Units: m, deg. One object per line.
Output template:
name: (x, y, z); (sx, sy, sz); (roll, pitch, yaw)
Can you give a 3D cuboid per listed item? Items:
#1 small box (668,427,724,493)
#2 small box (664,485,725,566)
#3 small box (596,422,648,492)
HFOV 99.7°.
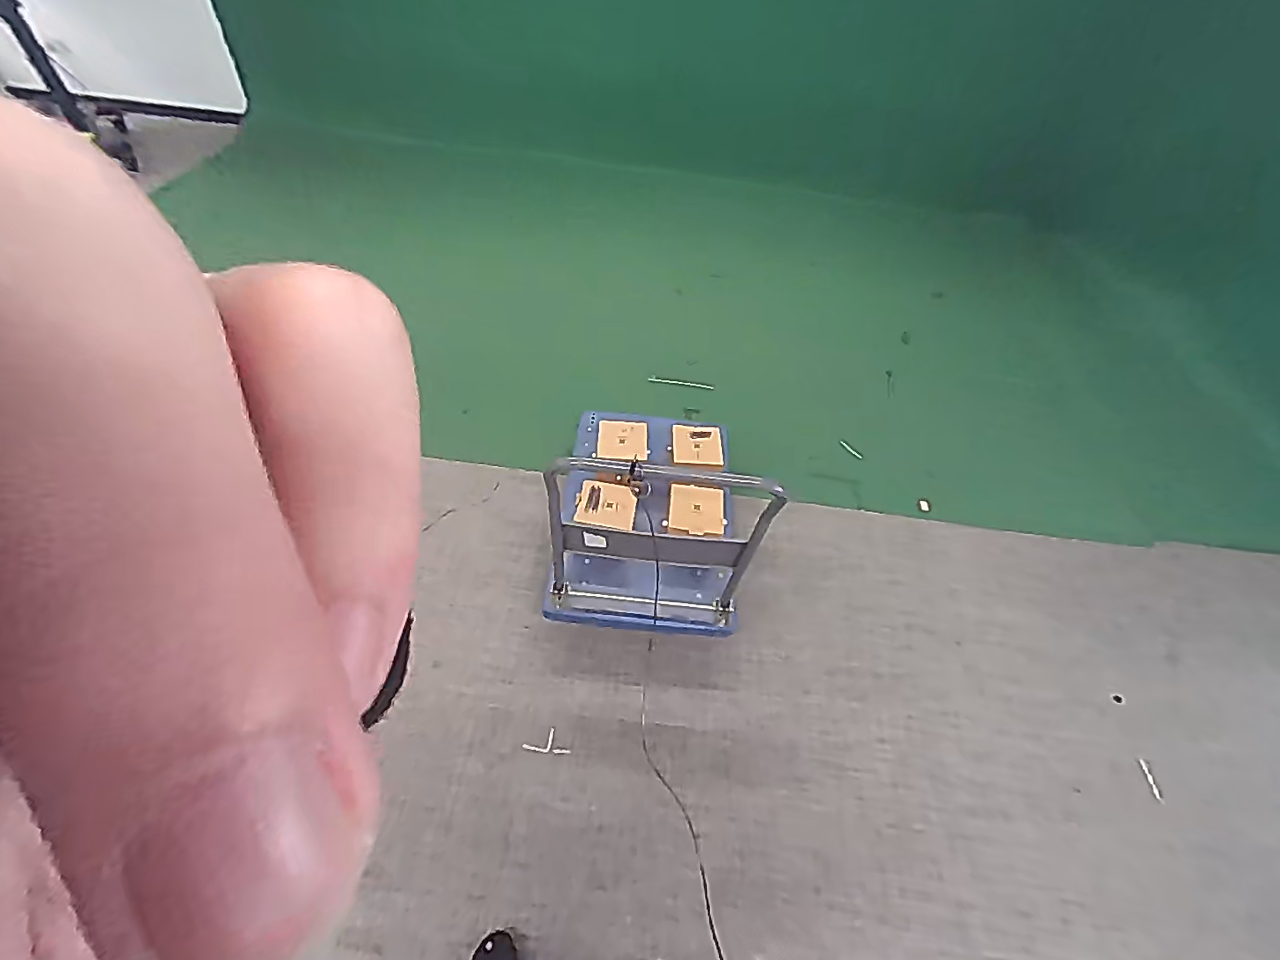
small box: (0.189, -0.061, 1.868); (0.168, 0.176, 0.179); (3, 51, -2)
small box: (0.168, 0.143, 1.693); (0.168, 0.176, 0.179); (7, 50, 0)
small box: (-0.062, -0.074, 1.854); (0.168, 0.176, 0.179); (4, 49, -3)
